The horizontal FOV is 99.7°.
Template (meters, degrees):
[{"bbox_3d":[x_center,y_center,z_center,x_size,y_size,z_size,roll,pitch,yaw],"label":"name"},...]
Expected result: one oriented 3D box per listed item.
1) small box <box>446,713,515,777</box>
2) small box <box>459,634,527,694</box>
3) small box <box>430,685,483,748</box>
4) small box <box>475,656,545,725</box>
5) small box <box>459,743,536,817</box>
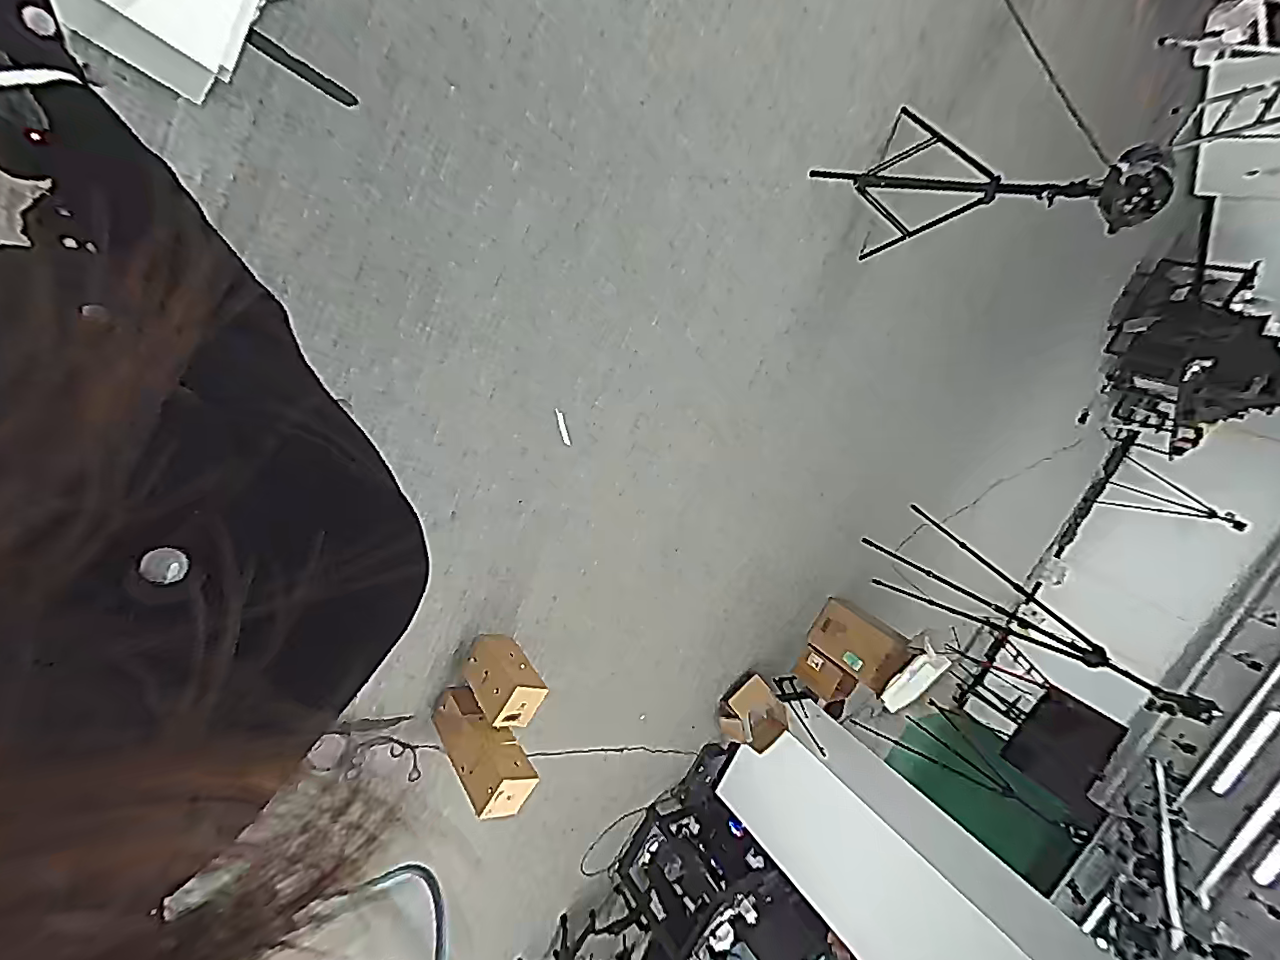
[{"bbox_3d":[-0.620,1.018,2.082,0.168,0.176,0.179,21,100,-47],"label":"small box"},{"bbox_3d":[-0.593,0.739,2.172,0.179,0.176,0.168,25,96,-47],"label":"small box"},{"bbox_3d":[-0.719,0.951,2.192,0.179,0.176,0.168,19,101,-46],"label":"small box"},{"bbox_3d":[-0.499,0.799,2.049,0.168,0.176,0.179,31,92,-48],"label":"small box"},{"bbox_3d":[-0.520,1.083,1.969,0.179,0.176,0.168,31,92,-49],"label":"small box"}]
